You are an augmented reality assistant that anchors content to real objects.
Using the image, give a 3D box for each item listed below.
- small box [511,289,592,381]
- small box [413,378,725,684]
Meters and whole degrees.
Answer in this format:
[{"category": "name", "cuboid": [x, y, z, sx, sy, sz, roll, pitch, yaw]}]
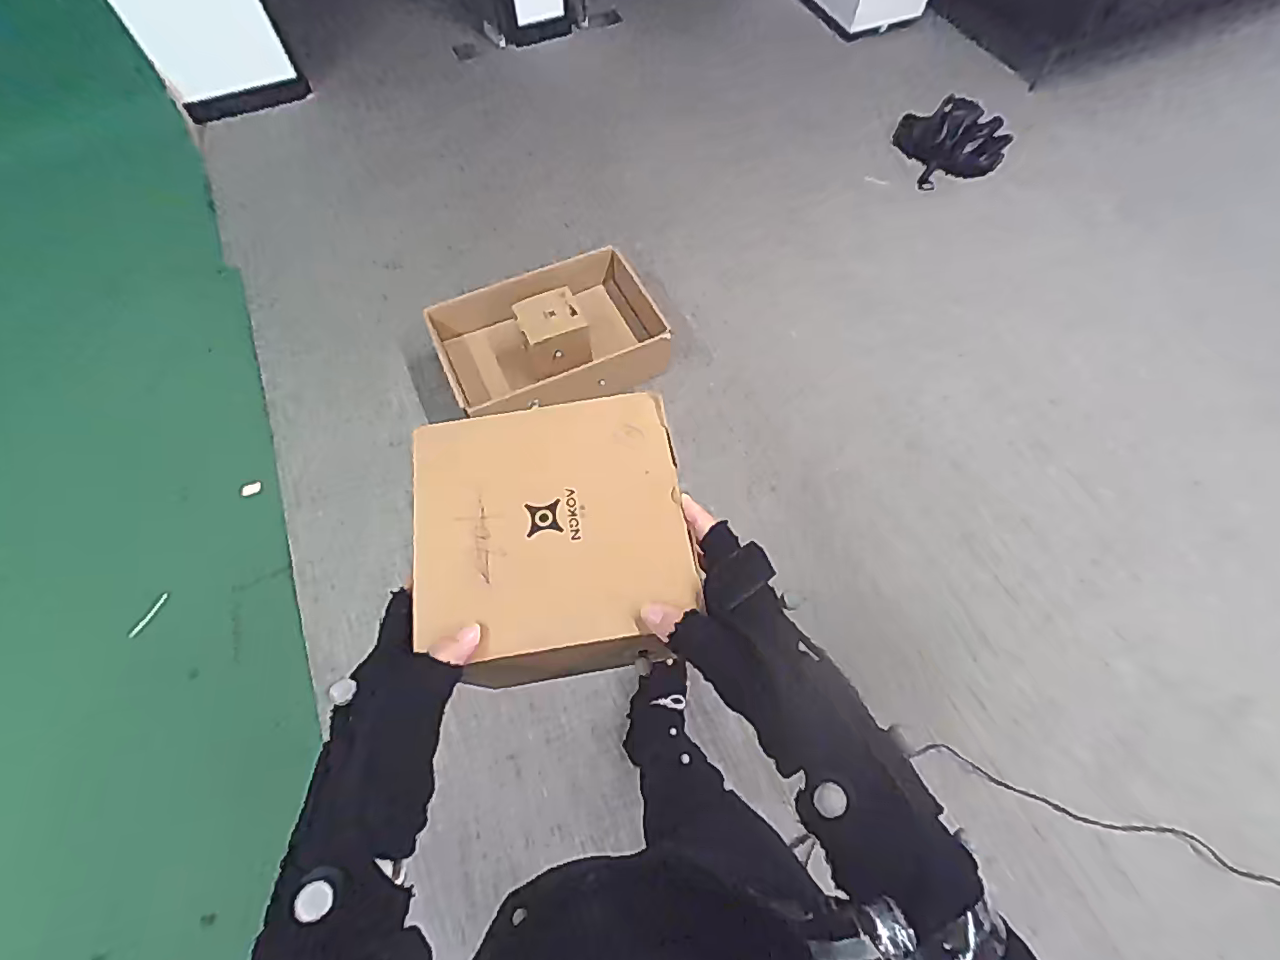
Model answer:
[{"category": "small box", "cuboid": [-0.255, -0.421, 1.593, 0.179, 0.176, 0.168, -25, 65, -12]}, {"category": "small box", "cuboid": [-0.051, 0.050, 0.414, 0.179, 0.176, 0.168, -13, 66, -5]}]
